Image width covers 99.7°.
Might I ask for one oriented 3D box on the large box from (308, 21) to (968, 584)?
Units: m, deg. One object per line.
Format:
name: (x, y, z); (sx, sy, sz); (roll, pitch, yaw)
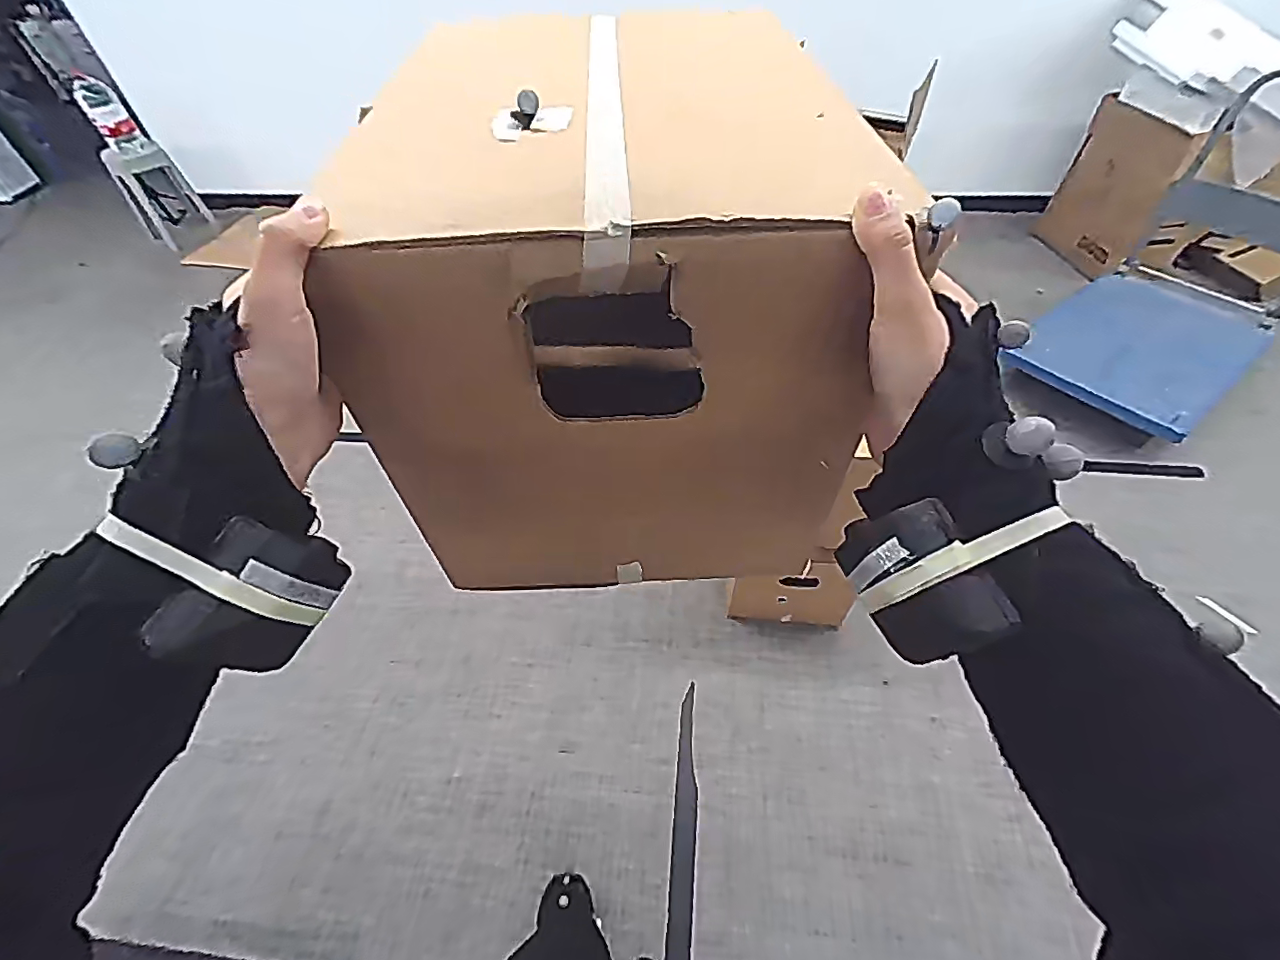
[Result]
large box: (-0.010, -0.162, 0.484); (0.320, 0.320, 0.408); (-4, 51, 0)
